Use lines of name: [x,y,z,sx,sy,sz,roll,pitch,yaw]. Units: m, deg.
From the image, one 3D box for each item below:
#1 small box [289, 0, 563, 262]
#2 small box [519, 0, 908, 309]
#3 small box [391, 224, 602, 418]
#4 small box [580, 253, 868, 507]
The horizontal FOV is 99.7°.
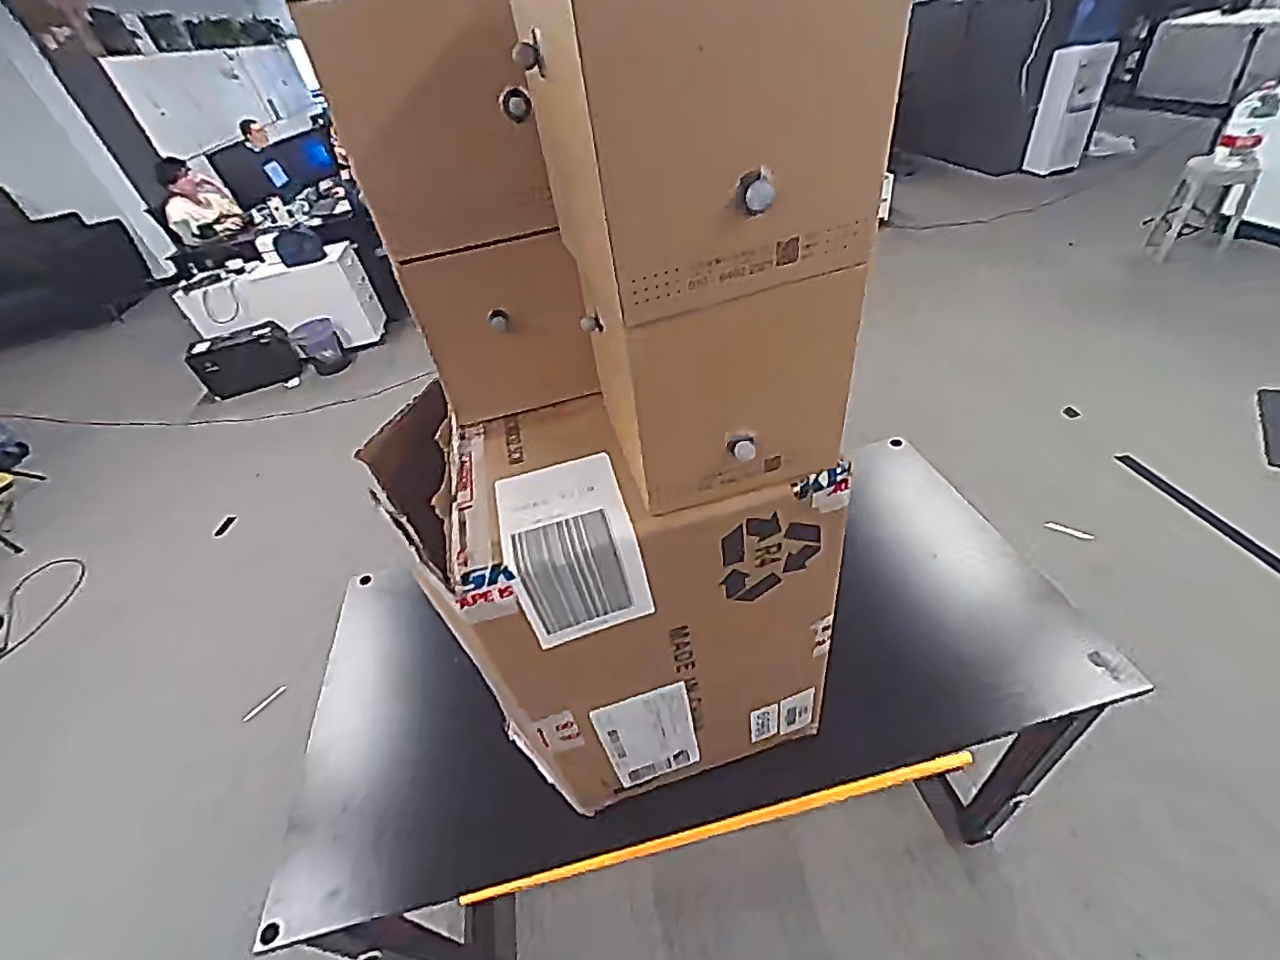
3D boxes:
small box: [-0.155,-0.309,0.466,0.179,0.176,0.168,-18,39,-9]
small box: [0.030,-0.227,0.332,0.168,0.176,0.179,-18,42,-8]
small box: [-0.134,-0.187,0.572,0.179,0.176,0.168,-16,40,-6]
small box: [0.054,-0.107,0.444,0.168,0.176,0.179,-16,43,-6]
